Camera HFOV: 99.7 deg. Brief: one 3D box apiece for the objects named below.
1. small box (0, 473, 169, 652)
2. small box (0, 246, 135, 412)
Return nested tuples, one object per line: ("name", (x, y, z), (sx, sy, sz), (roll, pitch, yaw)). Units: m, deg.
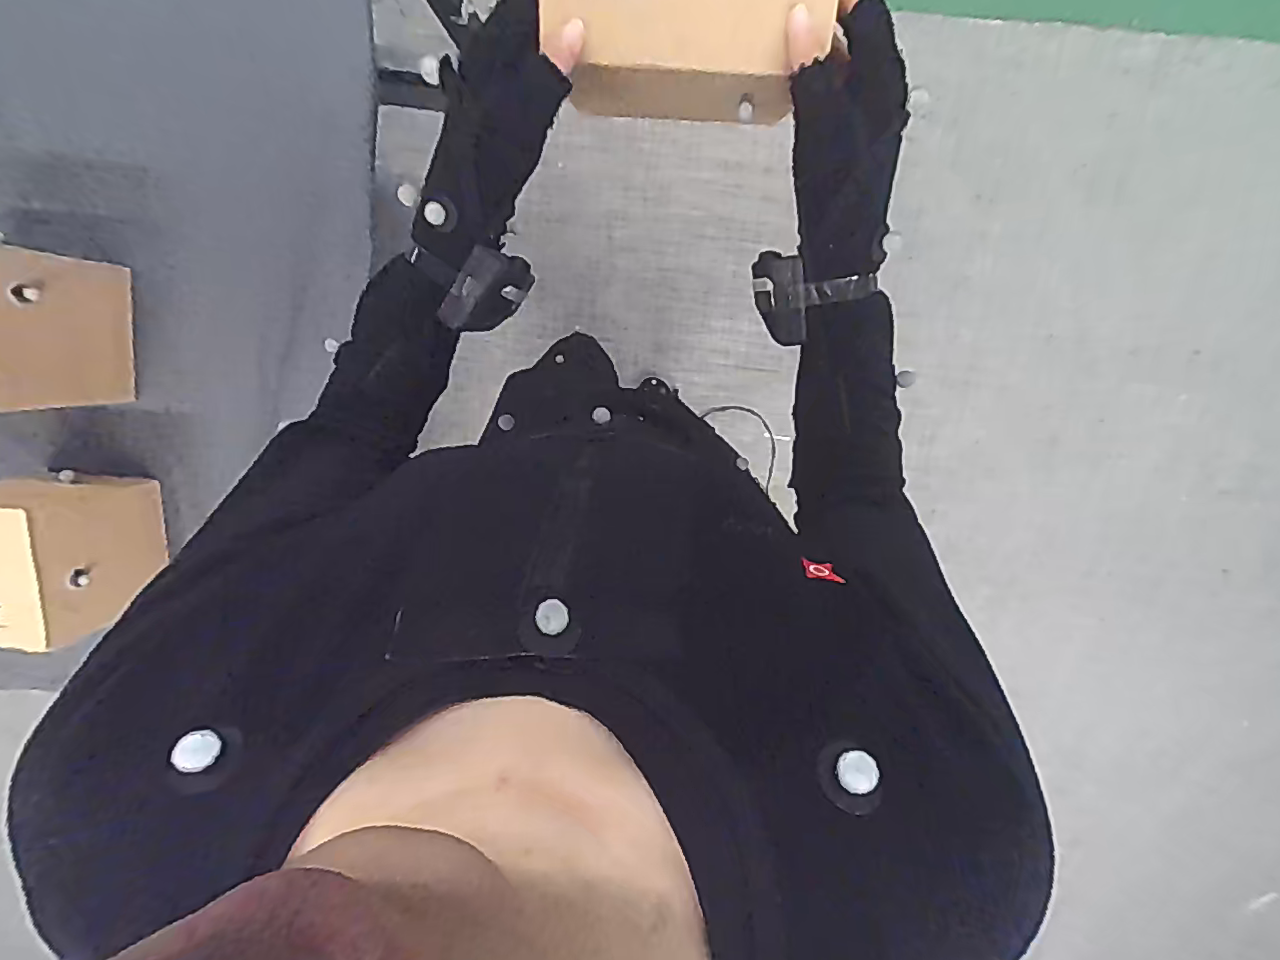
("small box", (-0.761, 0.097, 0.699), (0.168, 0.176, 0.179), (4, 101, 1))
("small box", (-0.752, -0.185, 0.638), (0.168, 0.176, 0.179), (10, 103, 0))
